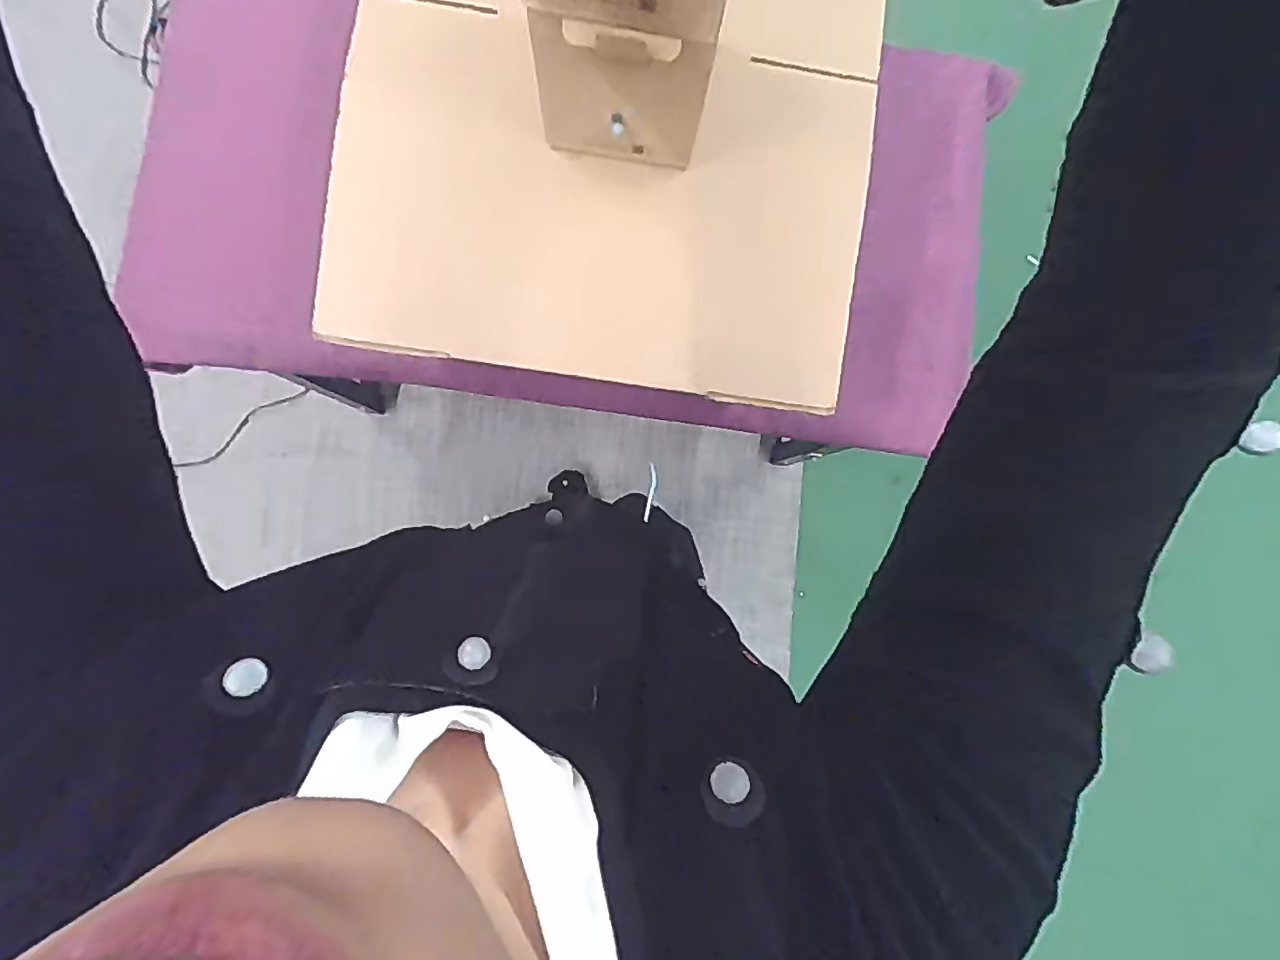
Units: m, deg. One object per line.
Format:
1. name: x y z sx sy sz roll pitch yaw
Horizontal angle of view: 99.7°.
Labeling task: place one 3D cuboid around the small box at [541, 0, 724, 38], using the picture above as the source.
1. small box: 0.002 -0.478 0.384 0.168 0.176 0.179 8 85 -3

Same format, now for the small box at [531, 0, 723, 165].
1. small box: -0.008 -0.465 0.546 0.168 0.176 0.179 8 85 -3
